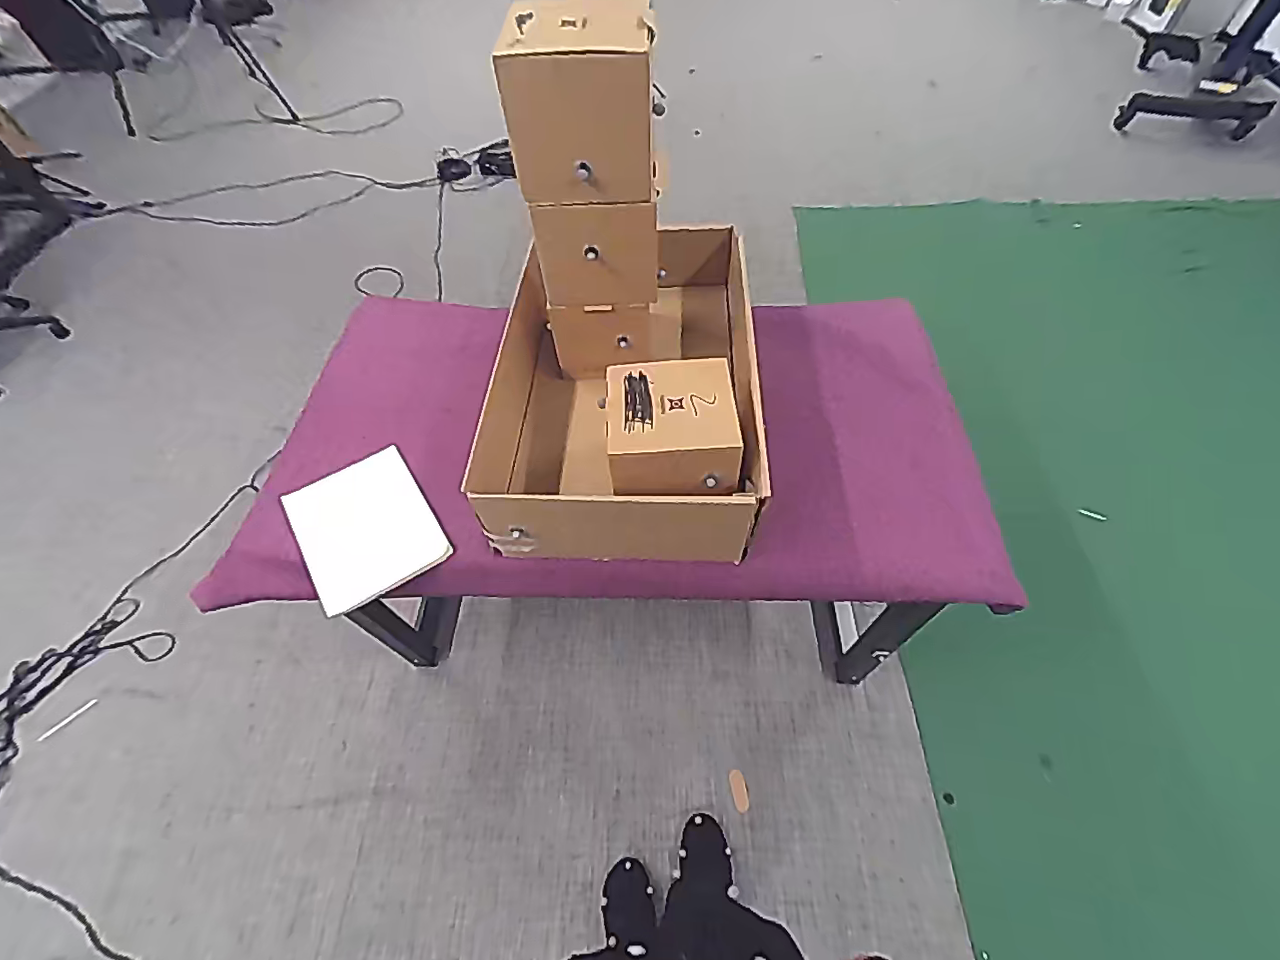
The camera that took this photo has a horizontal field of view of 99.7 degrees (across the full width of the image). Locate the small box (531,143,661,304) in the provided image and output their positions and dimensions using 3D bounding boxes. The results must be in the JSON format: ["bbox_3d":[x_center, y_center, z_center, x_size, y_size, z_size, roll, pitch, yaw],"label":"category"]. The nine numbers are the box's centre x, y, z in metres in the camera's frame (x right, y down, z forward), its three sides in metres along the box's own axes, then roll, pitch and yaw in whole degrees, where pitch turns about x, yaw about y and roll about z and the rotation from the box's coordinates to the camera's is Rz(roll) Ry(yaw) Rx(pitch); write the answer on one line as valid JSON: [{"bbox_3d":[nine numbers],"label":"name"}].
[{"bbox_3d":[-0.058,-0.389,0.831,0.179,0.176,0.168,-1,56,2],"label":"small box"}]

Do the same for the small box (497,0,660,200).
[{"bbox_3d":[-0.065,-0.483,0.696,0.179,0.176,0.168,1,56,2],"label":"small box"}]
